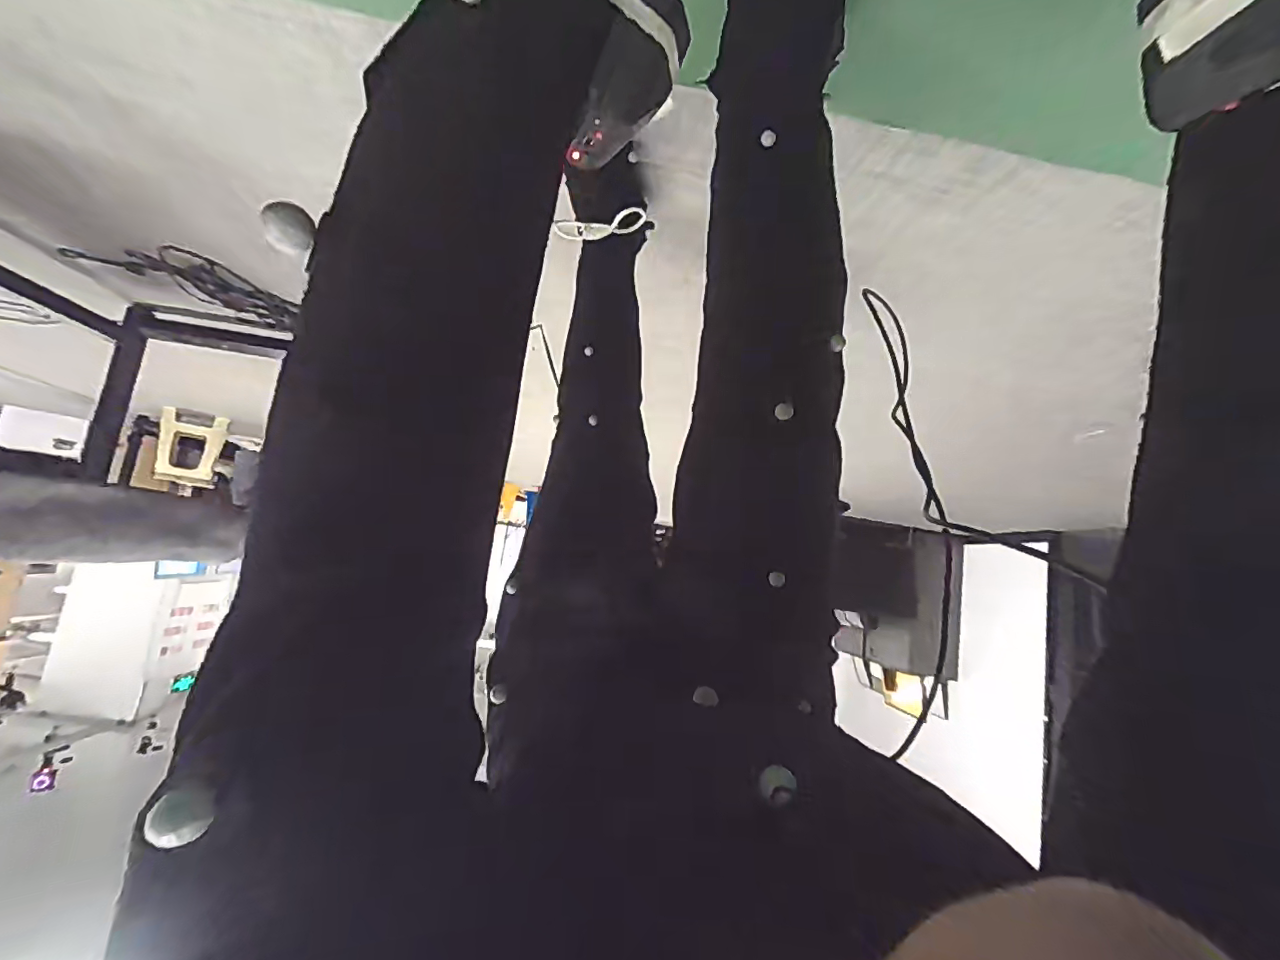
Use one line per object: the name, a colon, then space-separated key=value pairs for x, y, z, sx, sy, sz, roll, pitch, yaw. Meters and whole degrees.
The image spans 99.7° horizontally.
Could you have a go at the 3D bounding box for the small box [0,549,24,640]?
small box: x=-1.260 y=0.197 z=0.943 sx=0.179 sy=0.176 sz=0.168 roll=8 pitch=173 yaw=-6
